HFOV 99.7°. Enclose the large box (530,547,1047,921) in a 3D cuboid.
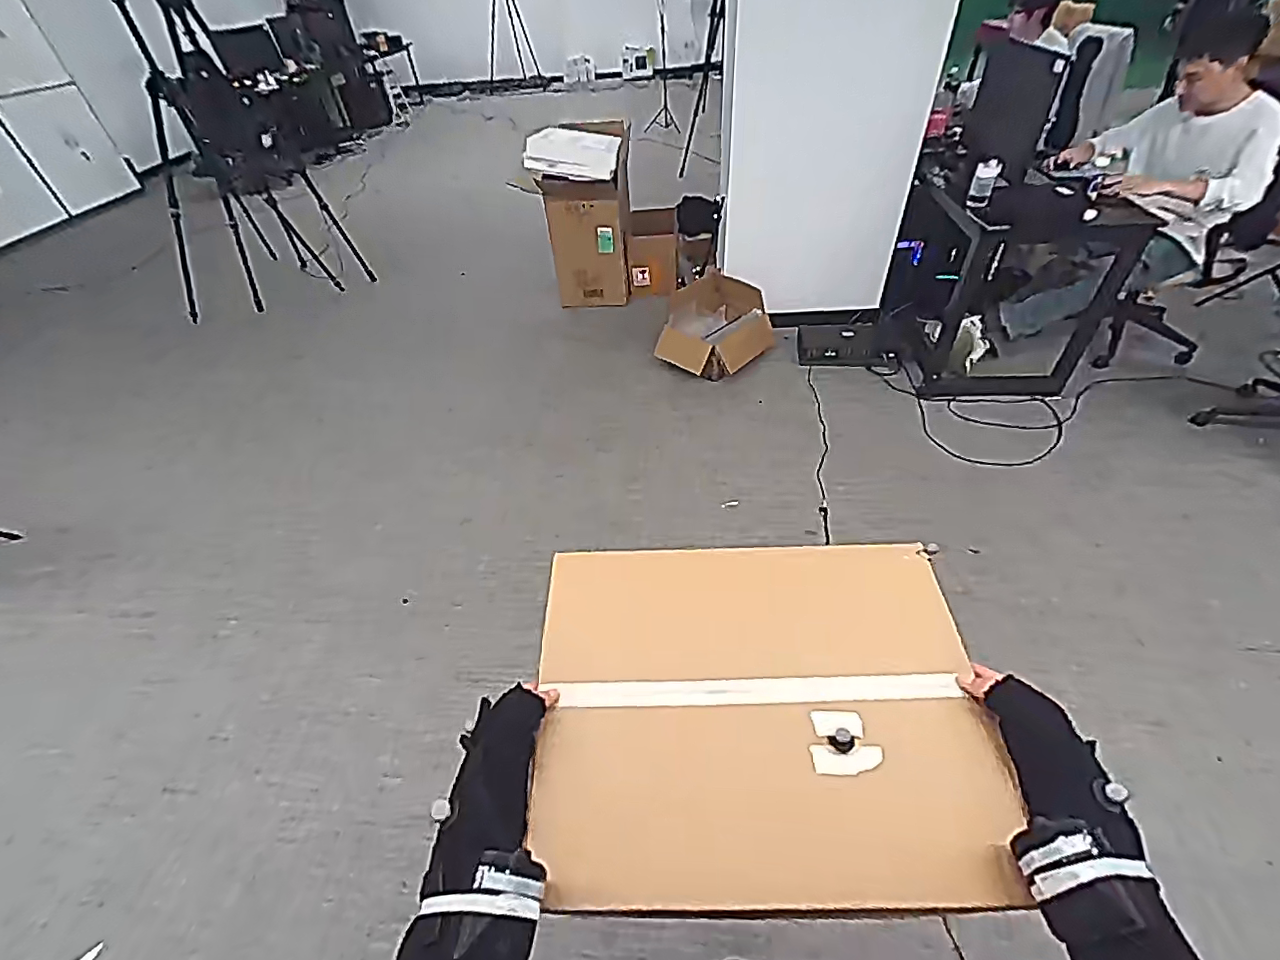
[{"bbox_3d":[0.113,0.295,0.618,0.408,0.320,0.320,-2,50,1],"label":"large box"}]
